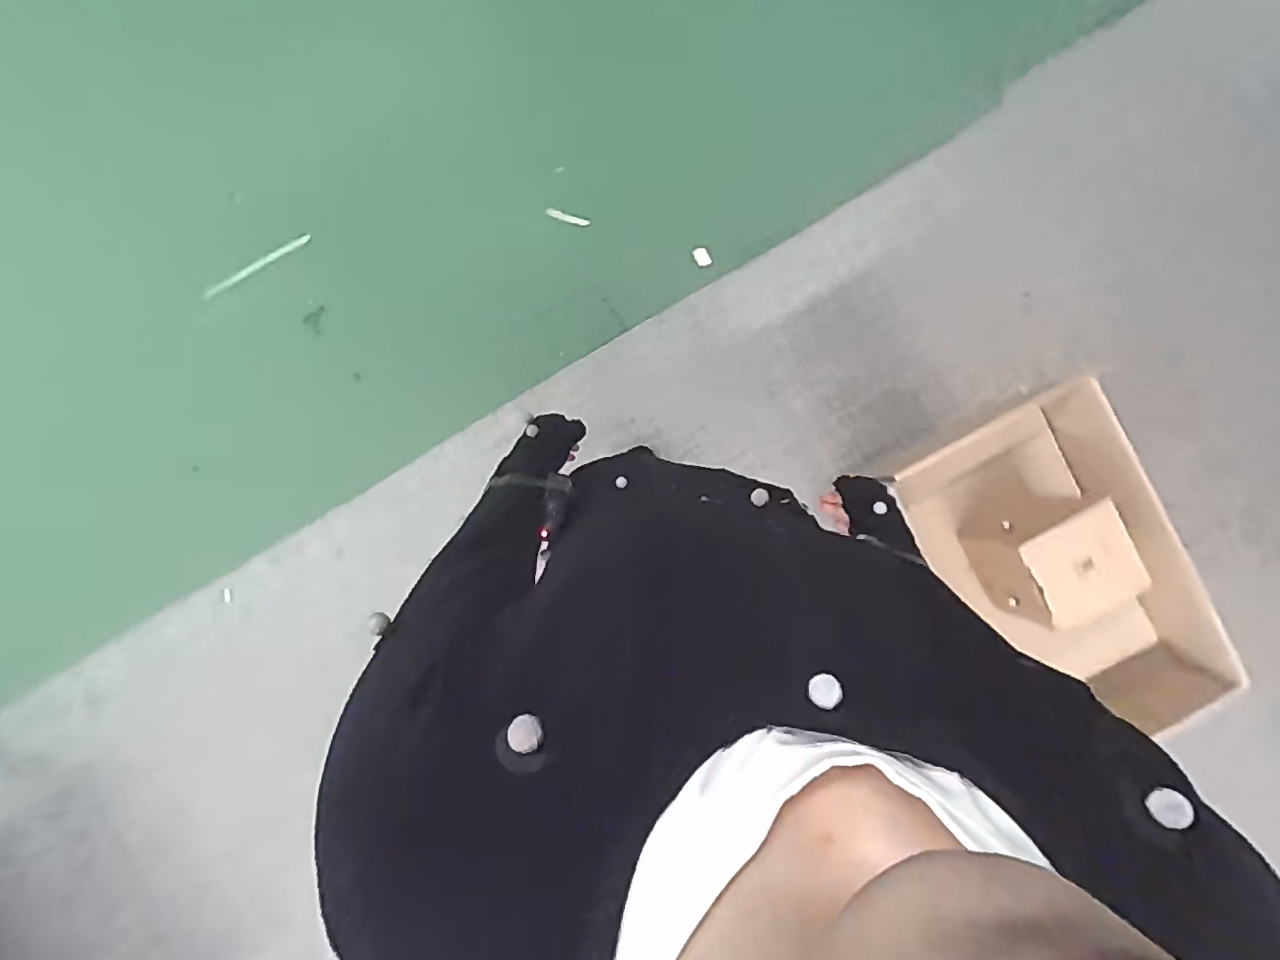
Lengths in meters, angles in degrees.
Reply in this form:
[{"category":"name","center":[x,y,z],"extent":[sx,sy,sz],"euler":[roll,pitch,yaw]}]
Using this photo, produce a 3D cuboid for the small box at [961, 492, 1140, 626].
[{"category":"small box","center":[0.723,0.134,0.980],"extent":[0.179,0.176,0.168],"euler":[-28,94,-2]}]
